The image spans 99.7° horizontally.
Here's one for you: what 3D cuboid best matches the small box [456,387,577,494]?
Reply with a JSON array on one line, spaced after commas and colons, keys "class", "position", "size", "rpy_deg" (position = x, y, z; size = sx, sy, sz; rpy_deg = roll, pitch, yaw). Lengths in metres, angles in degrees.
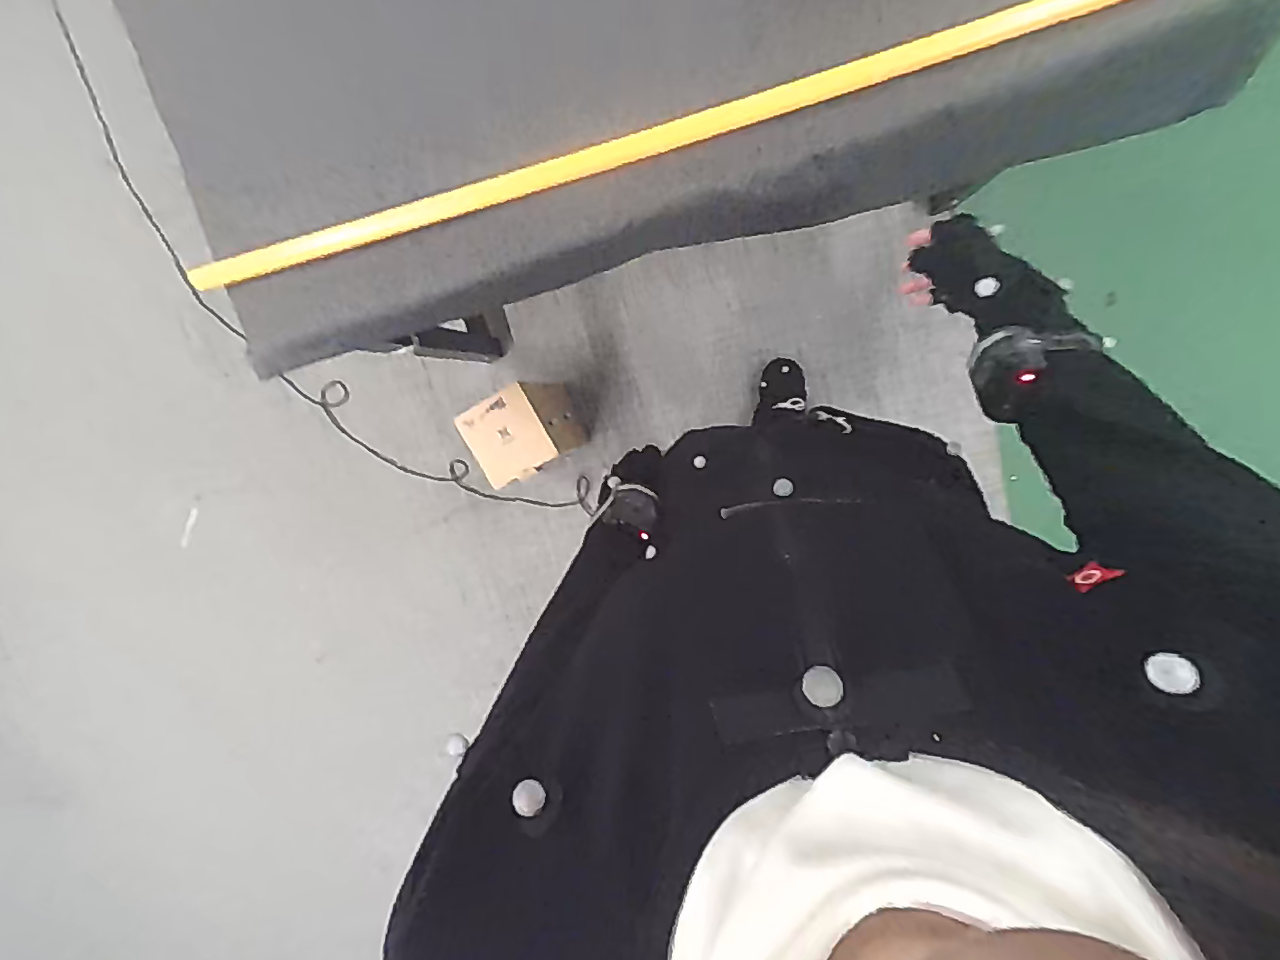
[{"class": "small box", "position": [-0.263, -0.095, 1.204], "size": [0.168, 0.176, 0.179], "rpy_deg": [-31, 94, 13]}]
